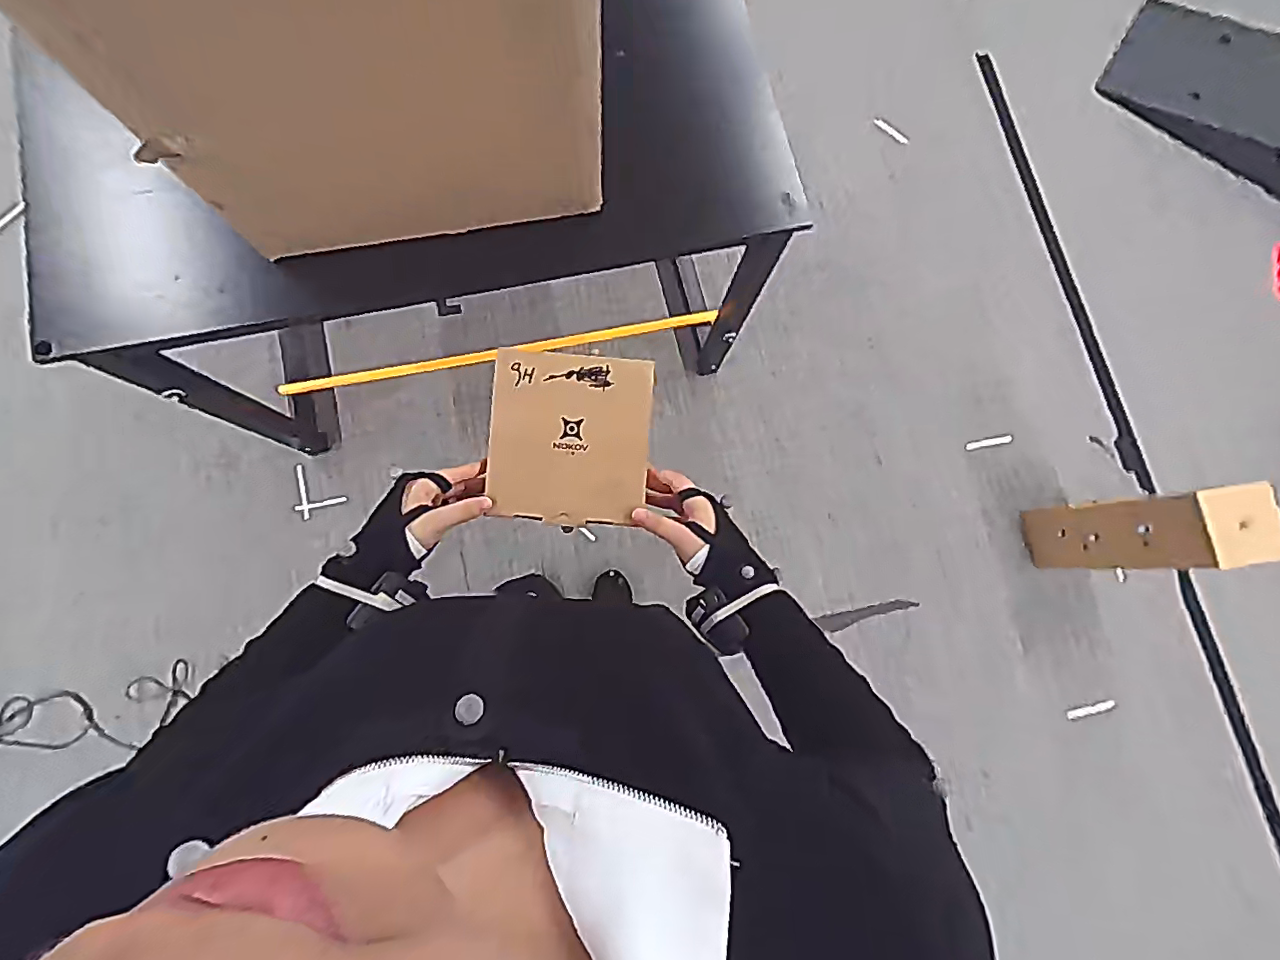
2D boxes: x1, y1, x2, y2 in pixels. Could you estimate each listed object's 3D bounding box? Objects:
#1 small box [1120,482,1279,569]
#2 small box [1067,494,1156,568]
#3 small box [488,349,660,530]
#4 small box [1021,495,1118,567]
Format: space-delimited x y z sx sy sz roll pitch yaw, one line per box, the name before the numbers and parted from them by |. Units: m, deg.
small box | 1.245 0.105 1.209 0.179 0.176 0.168 -9 81 -4
small box | 1.247 0.128 1.370 0.179 0.176 0.168 -8 81 -5
small box | -0.072 -0.041 0.637 0.168 0.176 0.179 5 89 -4
small box | 1.230 0.148 1.533 0.168 0.176 0.179 -8 82 -5
